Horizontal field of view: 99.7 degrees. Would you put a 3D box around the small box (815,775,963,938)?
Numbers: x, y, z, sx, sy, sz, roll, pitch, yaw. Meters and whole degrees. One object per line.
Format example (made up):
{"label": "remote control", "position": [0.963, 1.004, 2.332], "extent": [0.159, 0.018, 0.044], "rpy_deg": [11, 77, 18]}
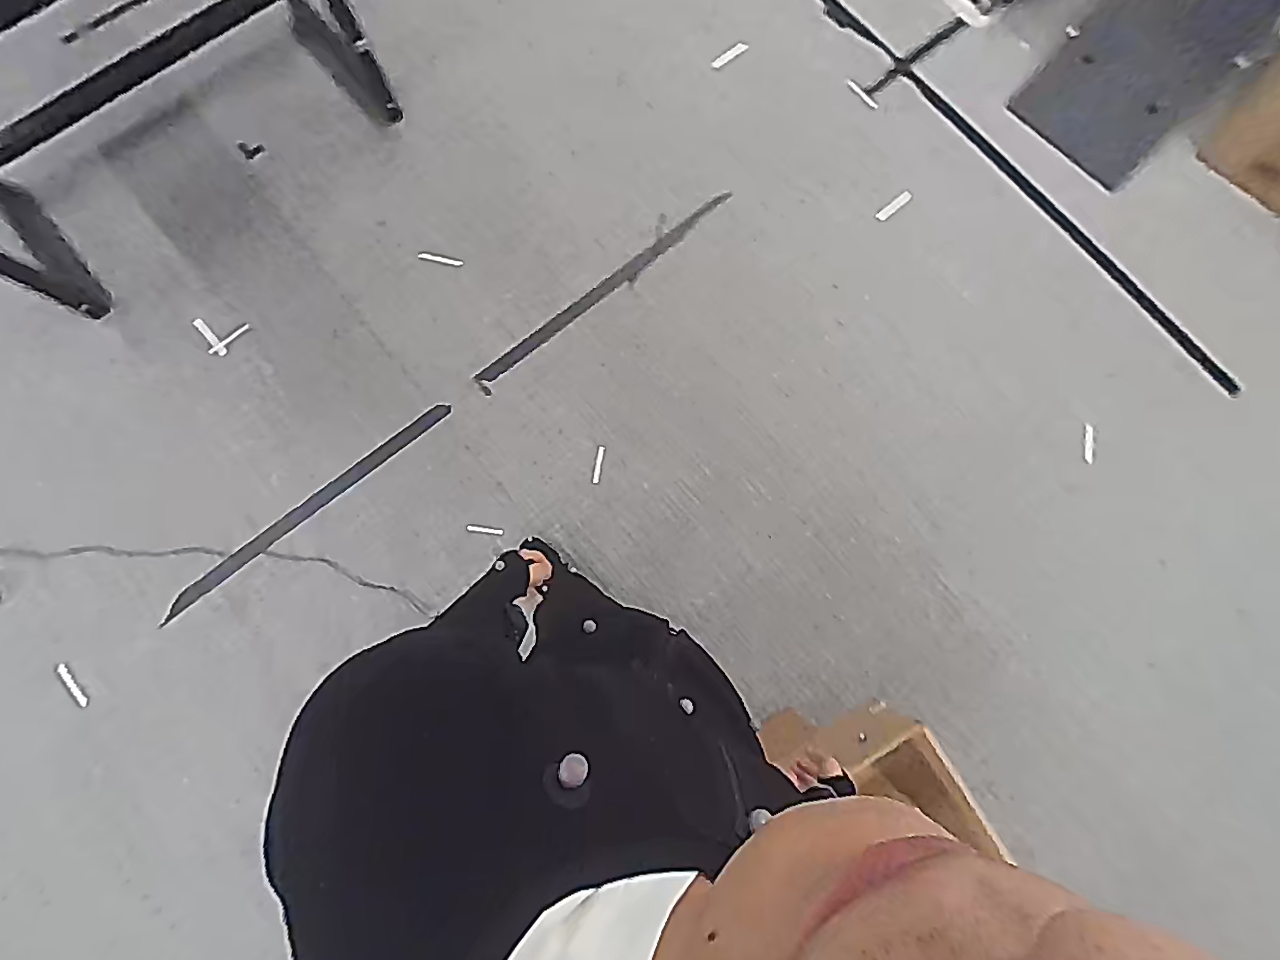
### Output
{"label": "small box", "position": [0.487, 0.737, 1.084], "extent": [0.179, 0.176, 0.168], "rpy_deg": [-34, 84, -6]}
